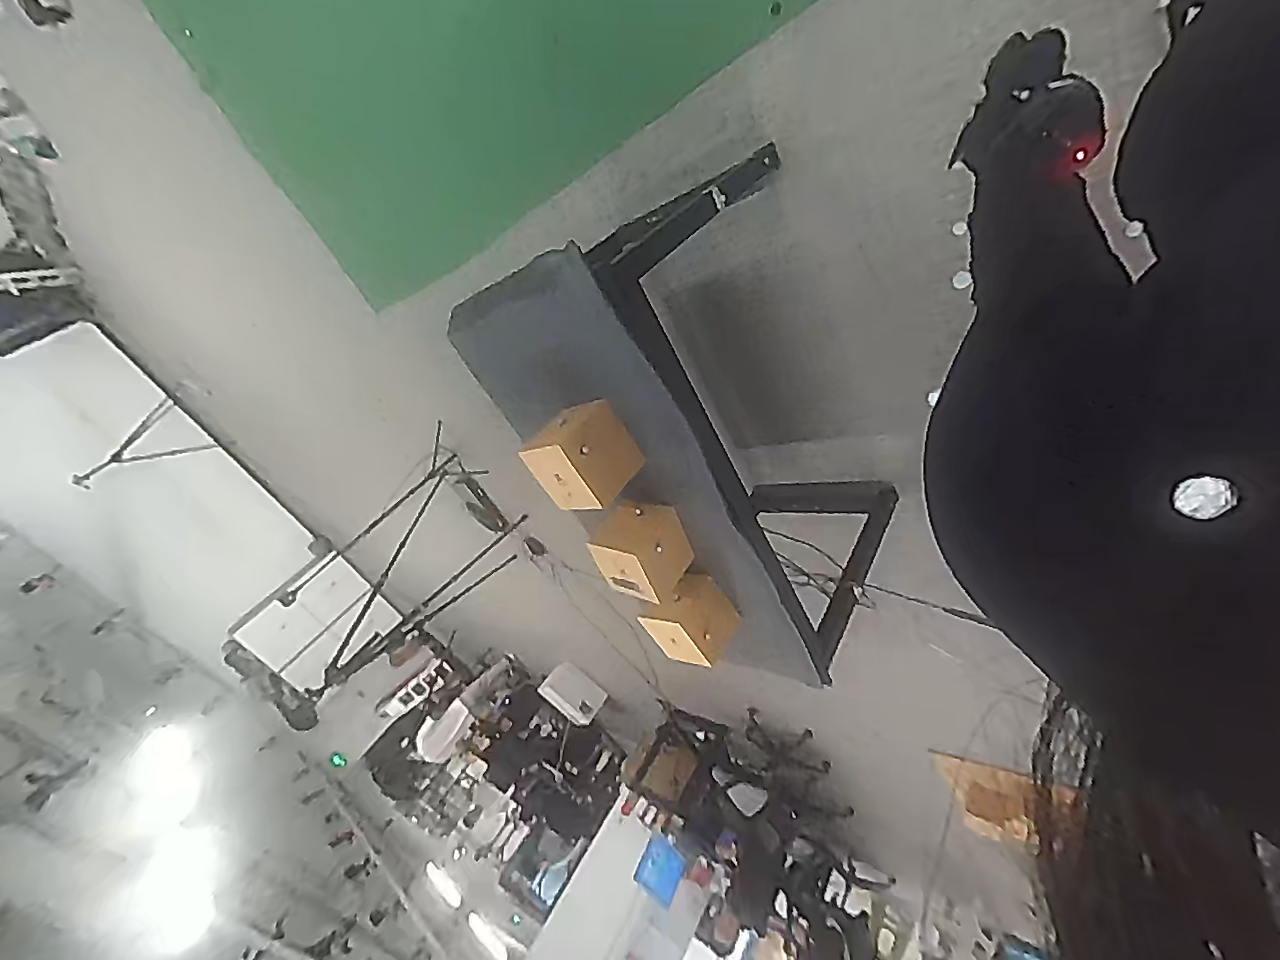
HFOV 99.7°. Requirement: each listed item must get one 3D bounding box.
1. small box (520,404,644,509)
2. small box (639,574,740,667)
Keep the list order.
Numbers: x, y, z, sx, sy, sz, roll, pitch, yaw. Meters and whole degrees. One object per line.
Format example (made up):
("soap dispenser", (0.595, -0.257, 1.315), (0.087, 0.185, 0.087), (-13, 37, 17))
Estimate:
("small box", (-0.124, -0.054, 1.202), (0.168, 0.176, 0.179), (-4, 127, 48))
("small box", (0.135, 0.368, 1.447), (0.168, 0.176, 0.179), (-9, 123, 49))
